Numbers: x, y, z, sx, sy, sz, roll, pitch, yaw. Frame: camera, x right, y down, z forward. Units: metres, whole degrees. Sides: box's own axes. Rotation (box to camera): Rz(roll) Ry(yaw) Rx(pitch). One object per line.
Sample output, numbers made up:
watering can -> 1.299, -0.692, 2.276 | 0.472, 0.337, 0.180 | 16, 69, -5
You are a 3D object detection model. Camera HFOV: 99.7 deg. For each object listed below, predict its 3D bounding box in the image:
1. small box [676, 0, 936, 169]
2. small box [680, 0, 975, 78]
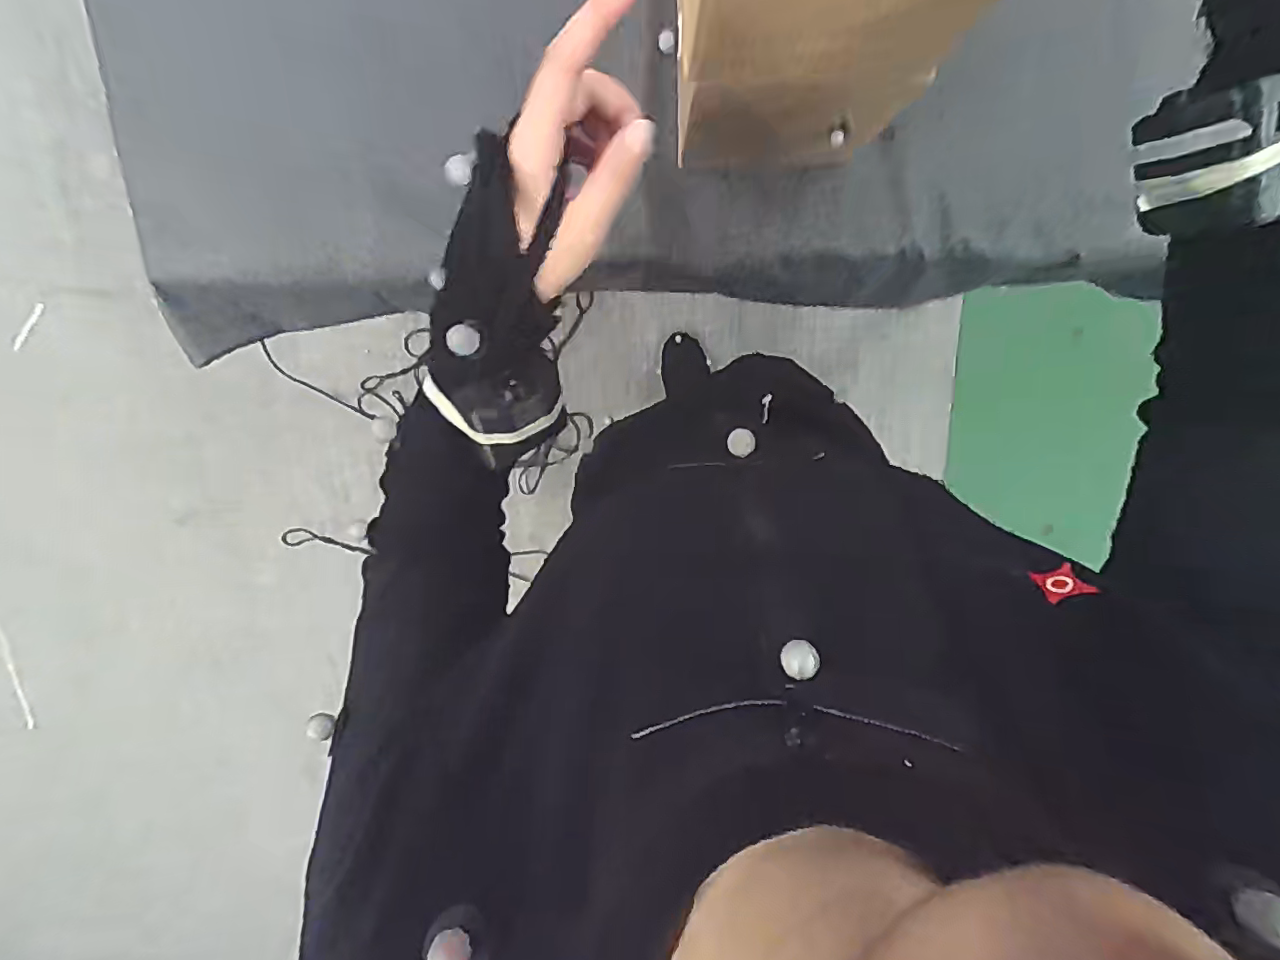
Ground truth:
small box -> 0.123, -0.379, 0.451 | 0.179, 0.176, 0.168 | -2, 101, 2
small box -> 0.113, -0.350, 0.291 | 0.179, 0.176, 0.168 | 0, 101, 0
